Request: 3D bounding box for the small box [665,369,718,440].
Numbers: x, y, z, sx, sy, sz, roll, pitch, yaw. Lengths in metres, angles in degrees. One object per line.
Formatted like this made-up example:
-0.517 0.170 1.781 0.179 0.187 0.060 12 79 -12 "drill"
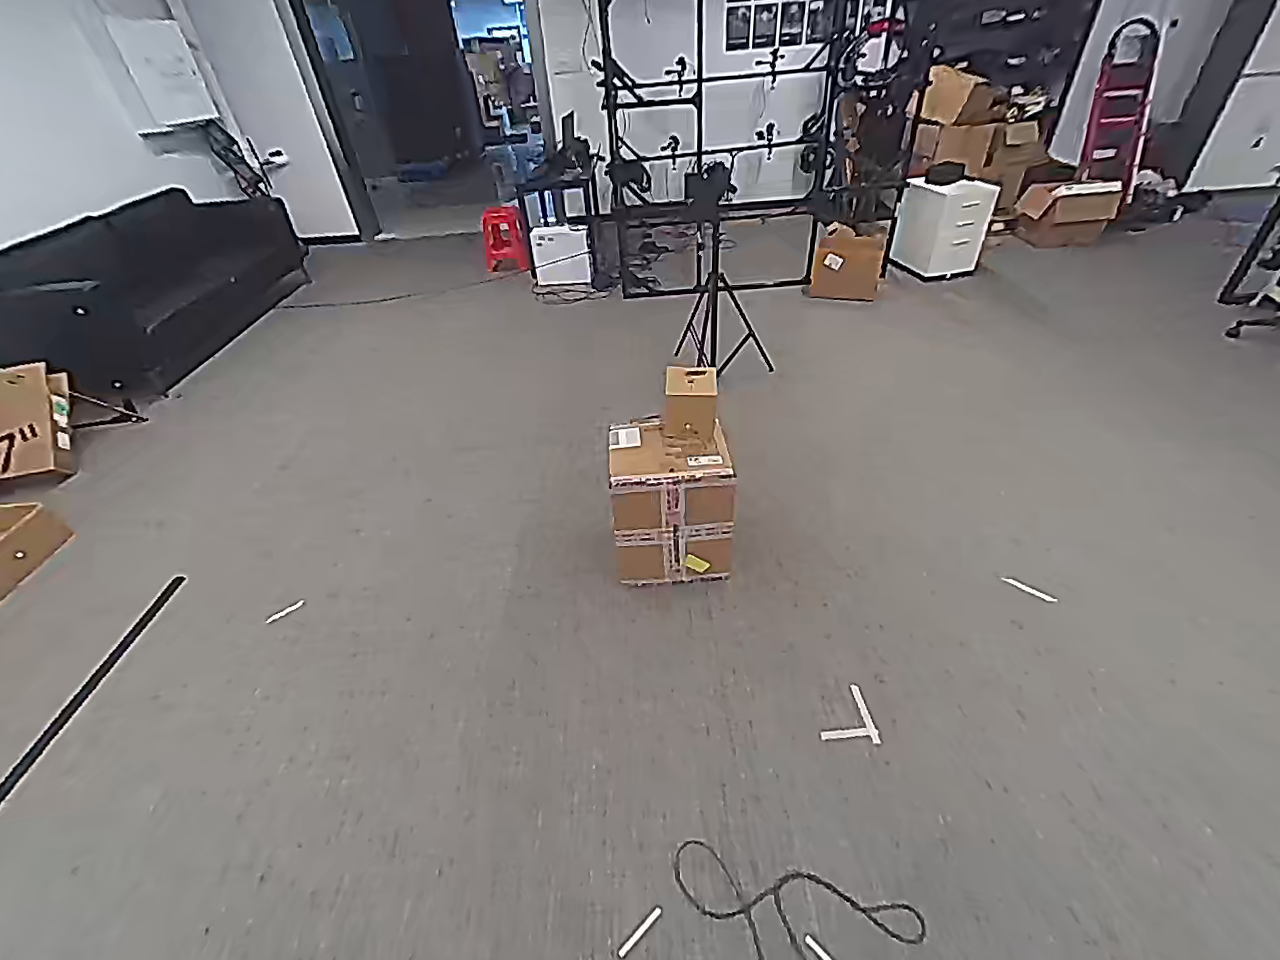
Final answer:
0.170 -0.252 1.804 0.168 0.176 0.179 2 42 4 "small box"
